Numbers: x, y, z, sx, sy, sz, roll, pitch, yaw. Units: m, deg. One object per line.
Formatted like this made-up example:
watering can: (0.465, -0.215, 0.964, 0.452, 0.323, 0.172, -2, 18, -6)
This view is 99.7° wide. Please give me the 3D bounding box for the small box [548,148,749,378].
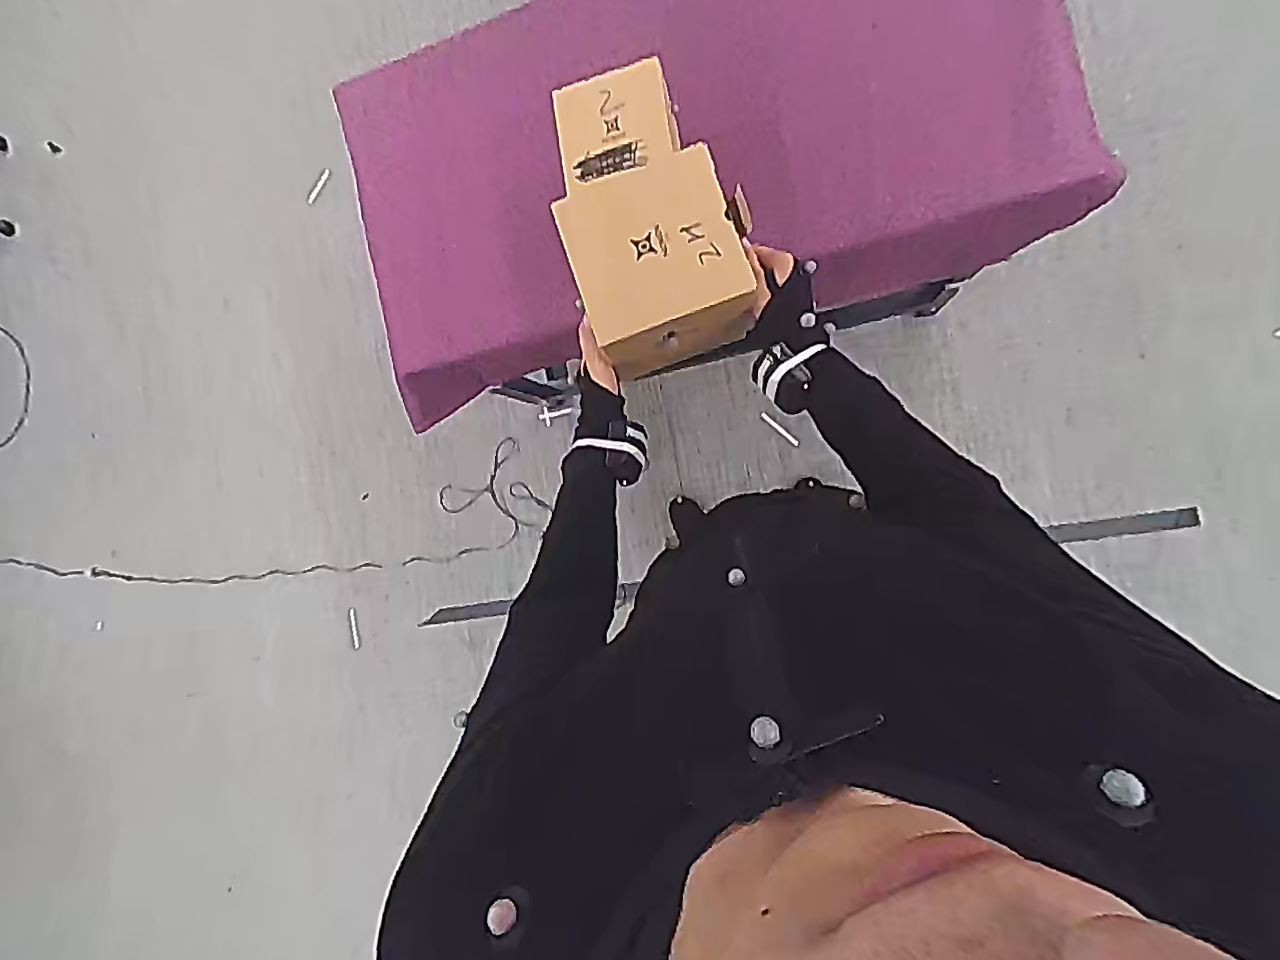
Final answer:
small box: (0.015, -0.236, 0.638, 0.179, 0.176, 0.168, -19, 86, 4)
